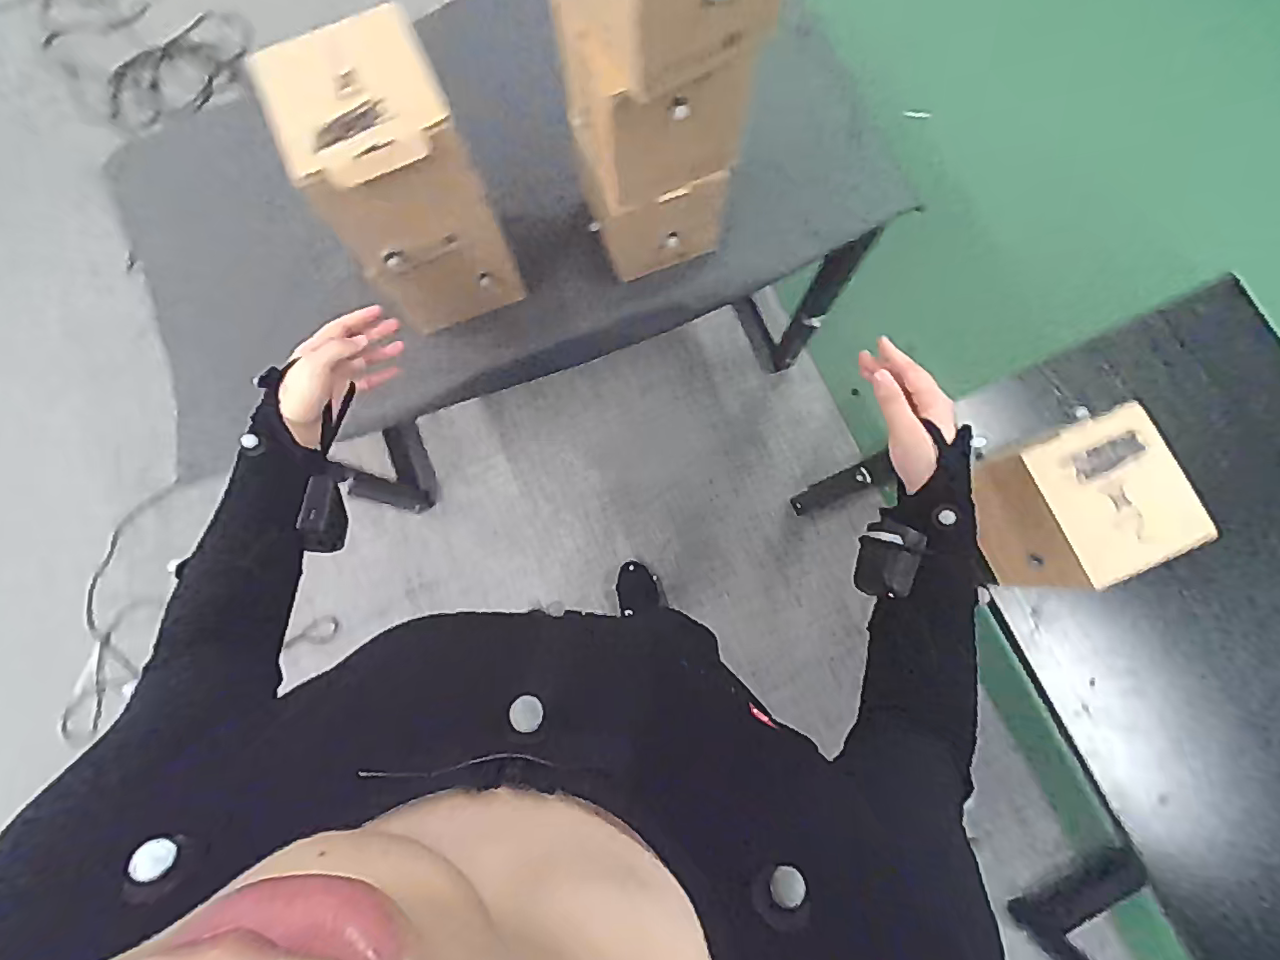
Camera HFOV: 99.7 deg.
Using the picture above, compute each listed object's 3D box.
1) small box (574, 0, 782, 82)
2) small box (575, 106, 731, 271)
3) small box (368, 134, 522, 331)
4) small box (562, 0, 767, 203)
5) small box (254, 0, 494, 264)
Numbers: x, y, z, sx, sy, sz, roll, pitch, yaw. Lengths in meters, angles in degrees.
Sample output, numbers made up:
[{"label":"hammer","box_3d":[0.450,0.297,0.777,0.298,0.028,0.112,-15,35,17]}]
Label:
[{"label":"small box","box_3d":[0.027,-0.496,0.470,0.168,0.176,0.179,-30,79,-4]},{"label":"small box","box_3d":[0.020,-0.435,0.792,0.168,0.176,0.179,-21,80,-2]},{"label":"small box","box_3d":[-0.284,-0.348,0.788,0.179,0.176,0.168,-21,78,-1]},{"label":"small box","box_3d":[0.022,-0.470,0.633,0.179,0.176,0.168,-22,79,-2]},{"label":"small box","box_3d":[-0.291,-0.382,0.627,0.168,0.176,0.179,-24,78,-3]}]
